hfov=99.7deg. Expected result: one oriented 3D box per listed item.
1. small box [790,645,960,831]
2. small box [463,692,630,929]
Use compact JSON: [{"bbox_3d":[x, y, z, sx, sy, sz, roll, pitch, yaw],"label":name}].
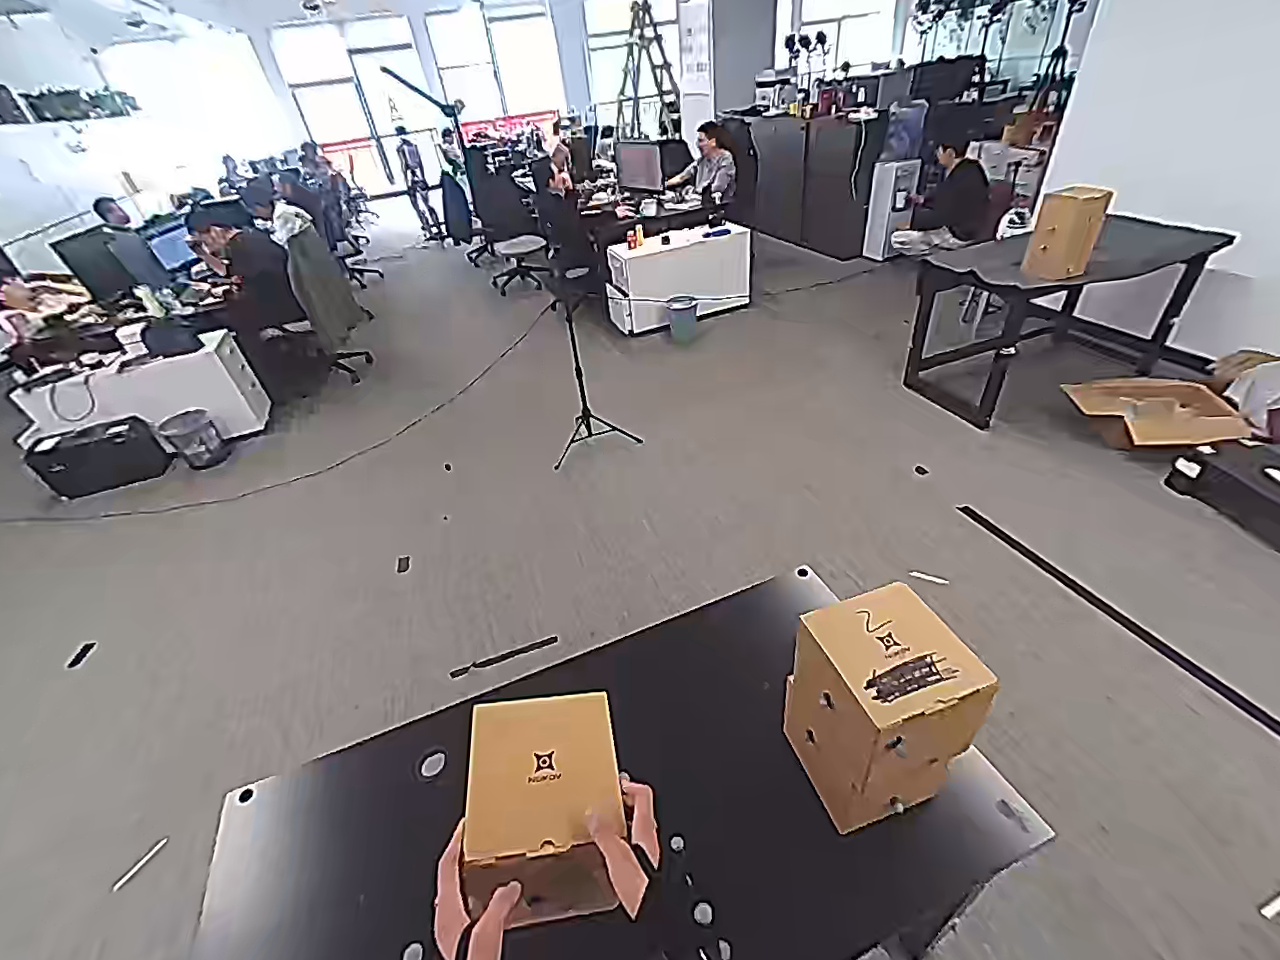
[{"bbox_3d":[0.343,0.394,0.832,0.168,0.176,0.179,-16,38,-9],"label":"small box"},{"bbox_3d":[-0.113,0.381,0.639,0.168,0.176,0.179,-1,34,-12],"label":"small box"}]
